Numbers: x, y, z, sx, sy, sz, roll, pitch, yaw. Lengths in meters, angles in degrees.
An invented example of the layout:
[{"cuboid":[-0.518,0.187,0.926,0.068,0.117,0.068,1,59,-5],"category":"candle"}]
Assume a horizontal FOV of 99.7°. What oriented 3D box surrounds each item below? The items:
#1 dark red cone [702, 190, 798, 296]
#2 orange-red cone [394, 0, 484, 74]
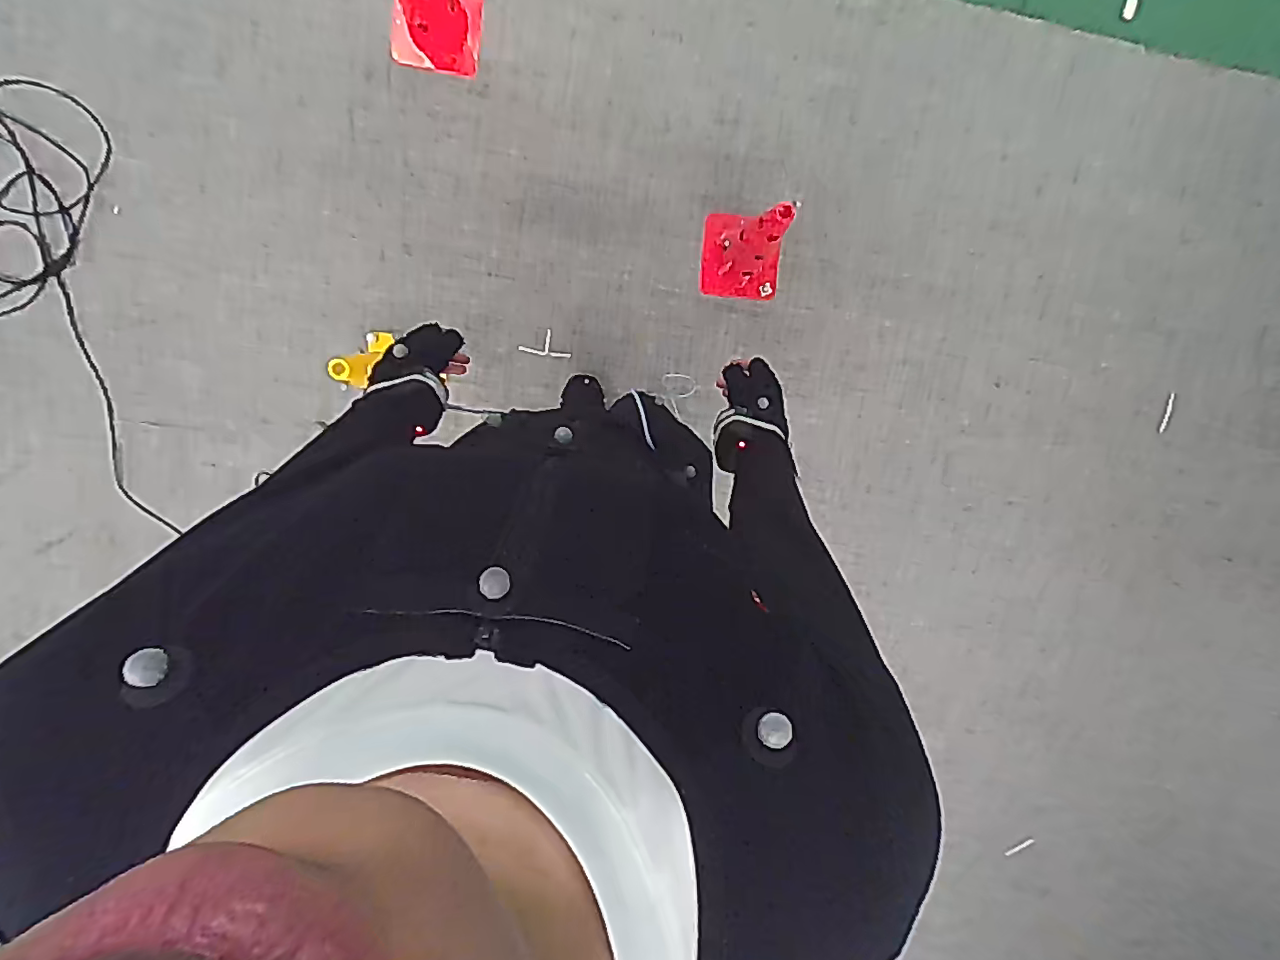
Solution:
[{"cuboid":[0.269,-0.545,1.196,0.202,0.394,0.201,3,98,-4],"category":"dark red cone"},{"cuboid":[-0.466,-1.043,1.098,0.198,0.360,0.199,9,100,-4],"category":"orange-red cone"}]
